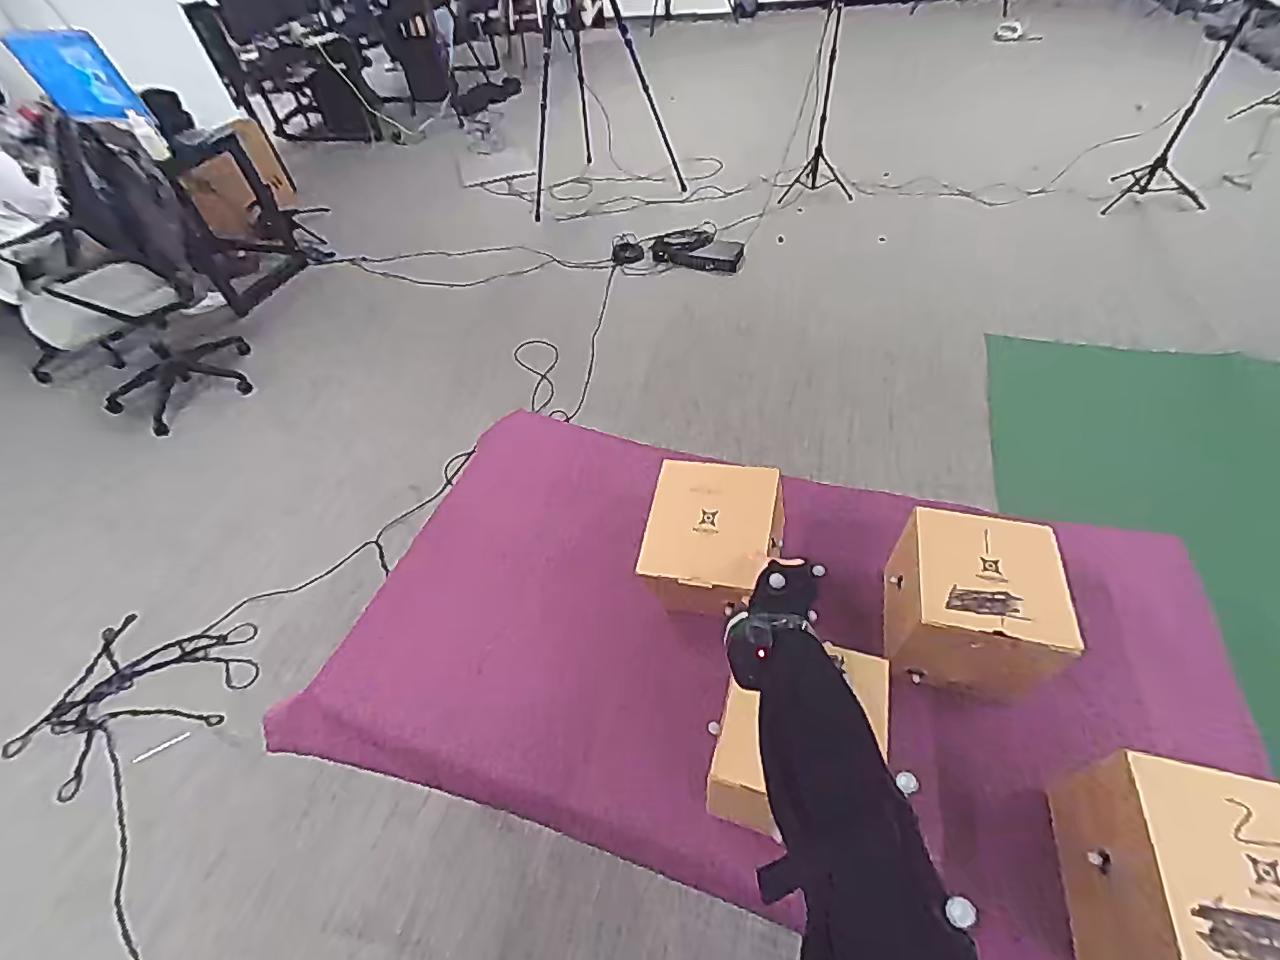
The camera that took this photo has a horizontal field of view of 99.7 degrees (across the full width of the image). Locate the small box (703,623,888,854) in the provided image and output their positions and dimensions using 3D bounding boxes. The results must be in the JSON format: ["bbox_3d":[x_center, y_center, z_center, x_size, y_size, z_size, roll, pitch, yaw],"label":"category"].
[{"bbox_3d":[0.174,0.298,0.621,0.168,0.176,0.179,11,50,15],"label":"small box"}]

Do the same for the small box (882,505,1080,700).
[{"bbox_3d":[0.428,0.163,0.713,0.168,0.176,0.179,10,49,14],"label":"small box"}]

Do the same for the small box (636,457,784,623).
[{"bbox_3d":[0.111,0.090,0.779,0.168,0.176,0.179,7,63,20],"label":"small box"}]
